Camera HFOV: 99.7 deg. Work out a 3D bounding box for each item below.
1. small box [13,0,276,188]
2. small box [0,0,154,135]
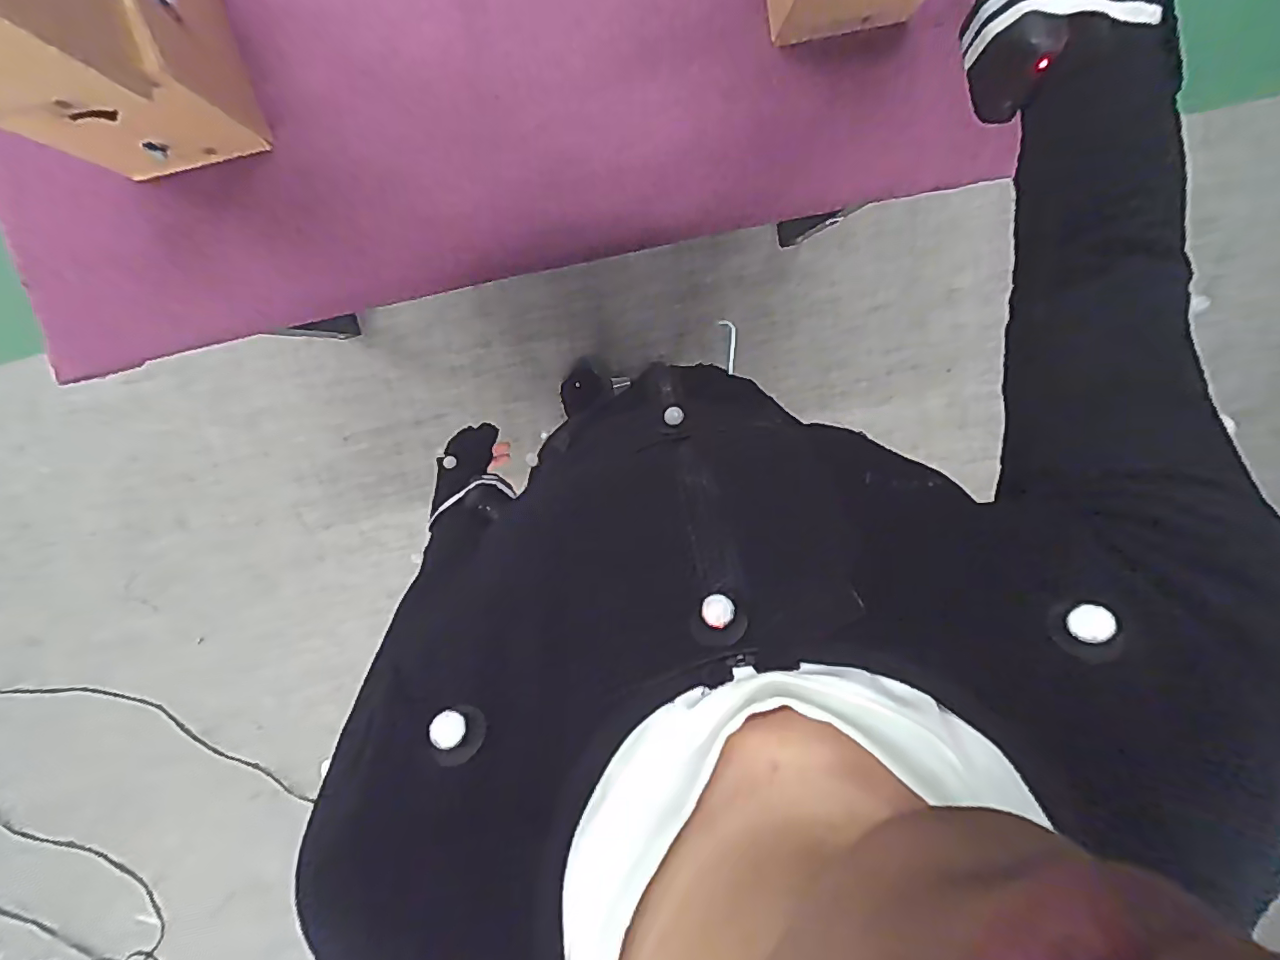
[{"bbox_3d":[-0.510,-0.418,0.530,0.168,0.176,0.179,-15,104,-2],"label":"small box"},{"bbox_3d":[-0.502,-0.365,0.374,0.168,0.176,0.179,-10,103,-3],"label":"small box"}]
